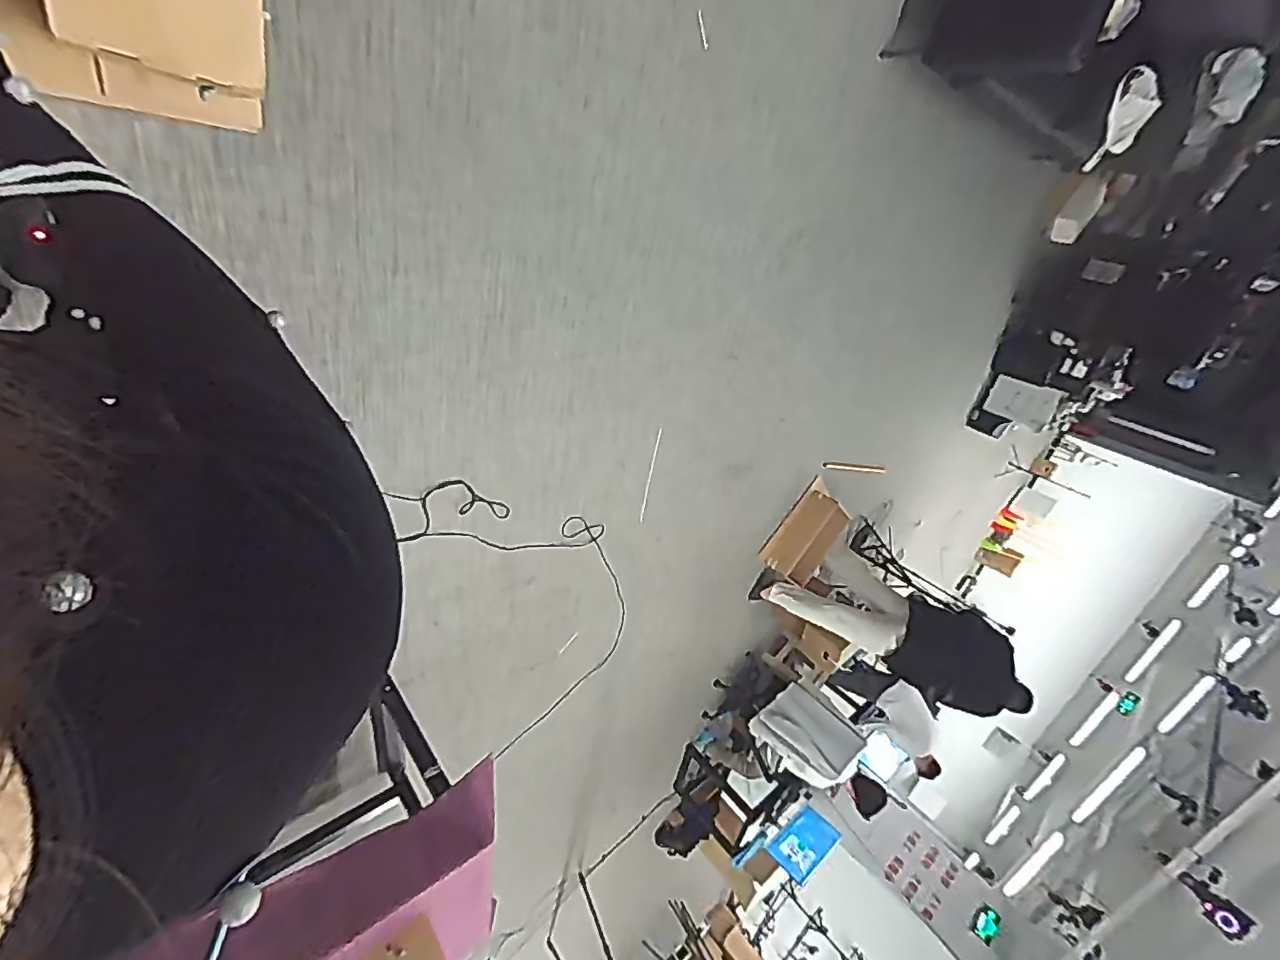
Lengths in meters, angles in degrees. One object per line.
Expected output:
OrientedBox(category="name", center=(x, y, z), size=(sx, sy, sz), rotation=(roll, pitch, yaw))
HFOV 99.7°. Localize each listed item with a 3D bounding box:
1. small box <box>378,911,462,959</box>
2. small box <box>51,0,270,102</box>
OrientedBox(category="small box", center=(-0.563, 1.280, 1.401), size=(0.168, 0.176, 0.179), rotation=(-16, 128, -40))
OrientedBox(category="small box", center=(-0.499, -0.521, 0.561), size=(0.168, 0.176, 0.179), rotation=(-10, 123, -42))
